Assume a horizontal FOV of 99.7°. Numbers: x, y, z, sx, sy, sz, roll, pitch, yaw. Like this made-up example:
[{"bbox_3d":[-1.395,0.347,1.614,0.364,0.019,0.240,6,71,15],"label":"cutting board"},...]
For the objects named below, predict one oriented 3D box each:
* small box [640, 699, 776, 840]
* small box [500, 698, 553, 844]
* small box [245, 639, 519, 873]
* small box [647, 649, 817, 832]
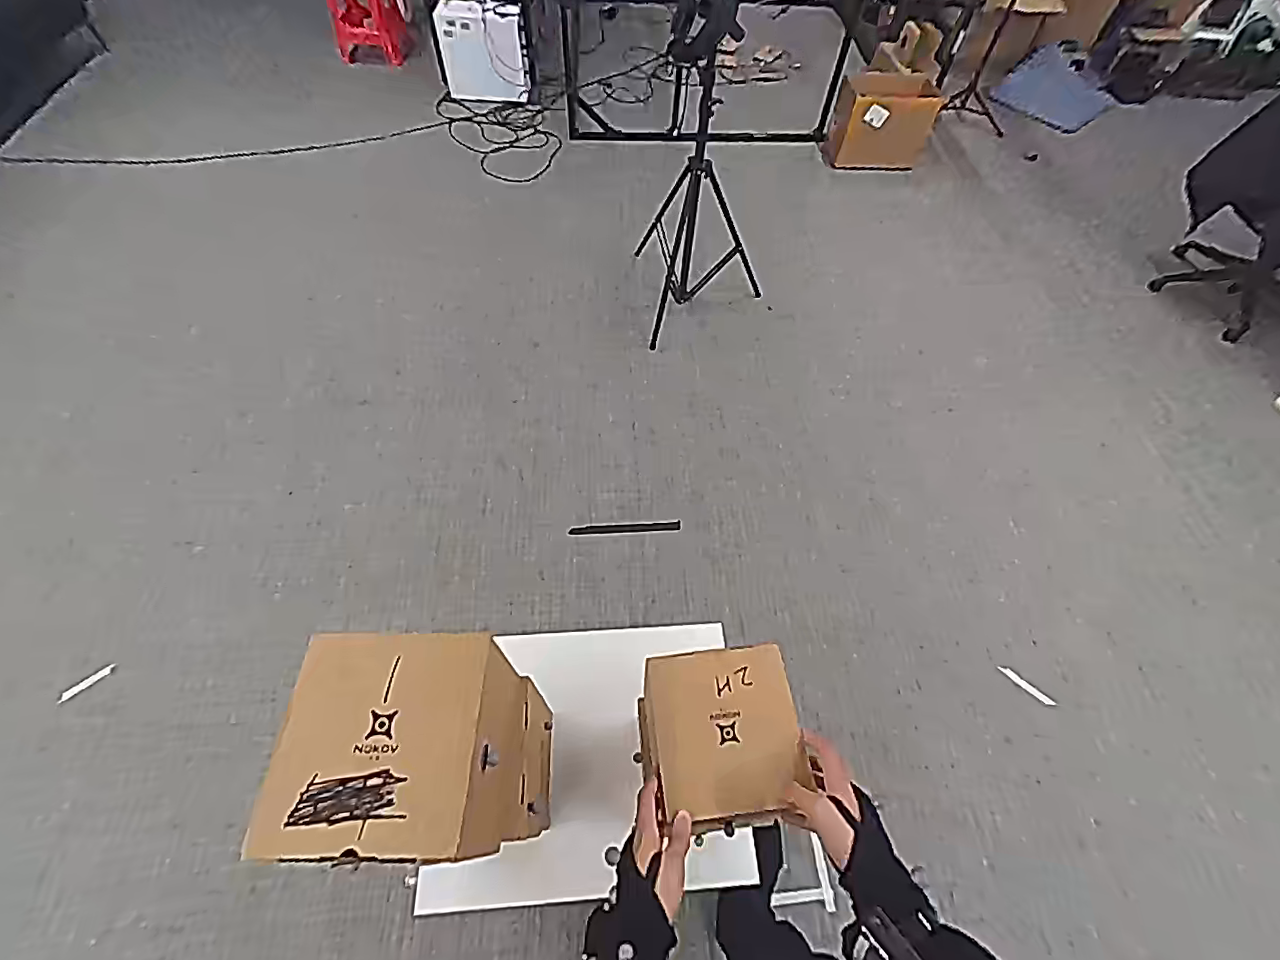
[{"bbox_3d":[0.088,0.429,0.810,0.168,0.176,0.179,-5,58,-3],"label":"small box"},{"bbox_3d":[-0.220,0.432,0.801,0.168,0.176,0.179,-2,58,-3],"label":"small box"},{"bbox_3d":[-0.218,0.263,0.518,0.168,0.176,0.179,1,57,-1],"label":"small box"},{"bbox_3d":[0.099,0.328,0.675,0.168,0.176,0.179,-5,55,-4],"label":"small box"}]
